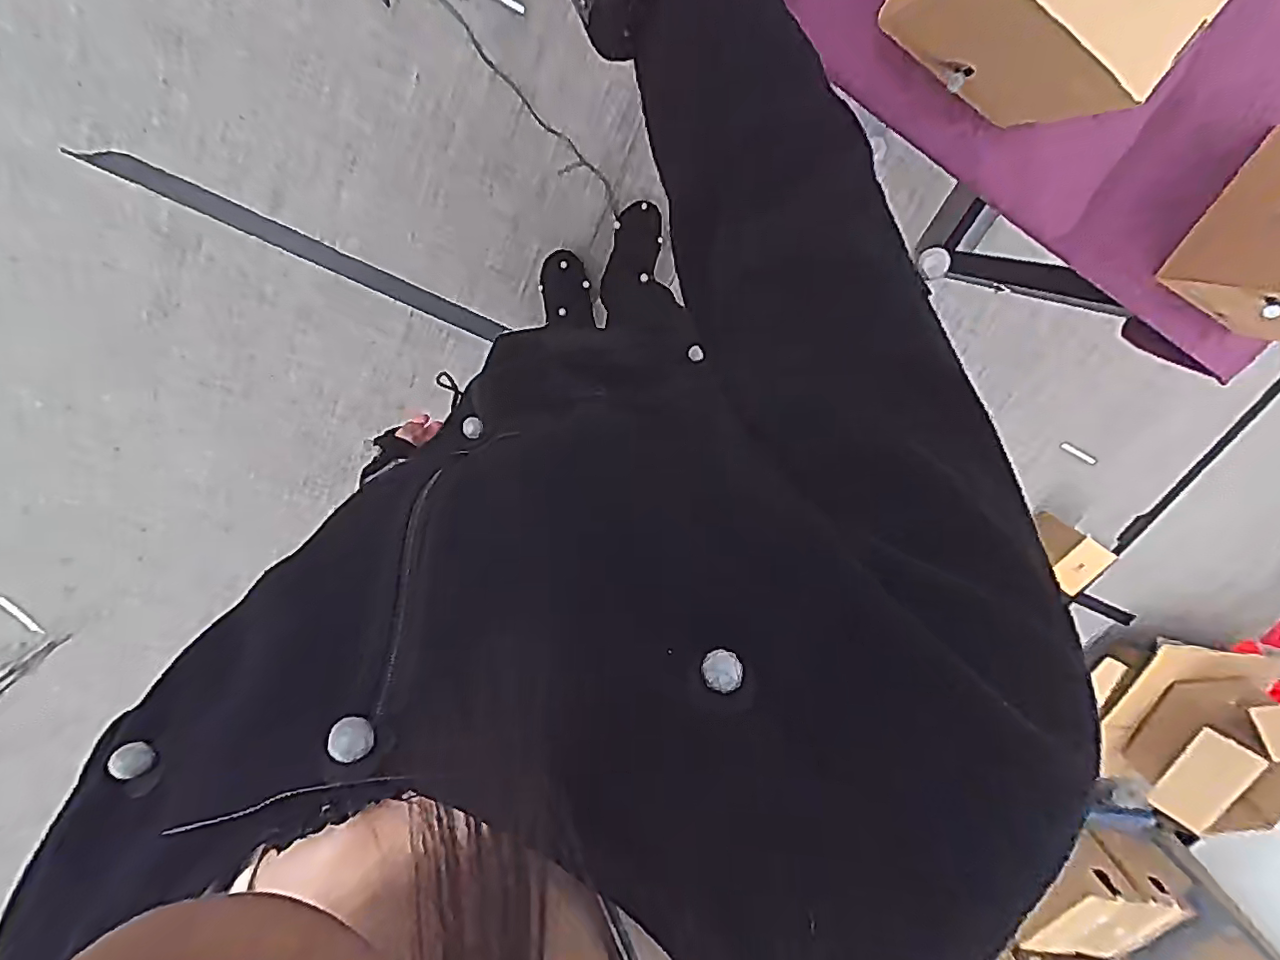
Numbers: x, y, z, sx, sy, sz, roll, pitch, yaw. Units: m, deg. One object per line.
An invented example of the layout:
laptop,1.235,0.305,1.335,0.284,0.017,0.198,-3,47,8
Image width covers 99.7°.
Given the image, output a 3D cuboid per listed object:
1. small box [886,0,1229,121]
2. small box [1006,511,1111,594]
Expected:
small box,0.347,-0.421,0.435,0.179,0.176,0.168,23,113,-19
small box,1.341,0.228,1.745,0.168,0.176,0.179,27,112,-20
